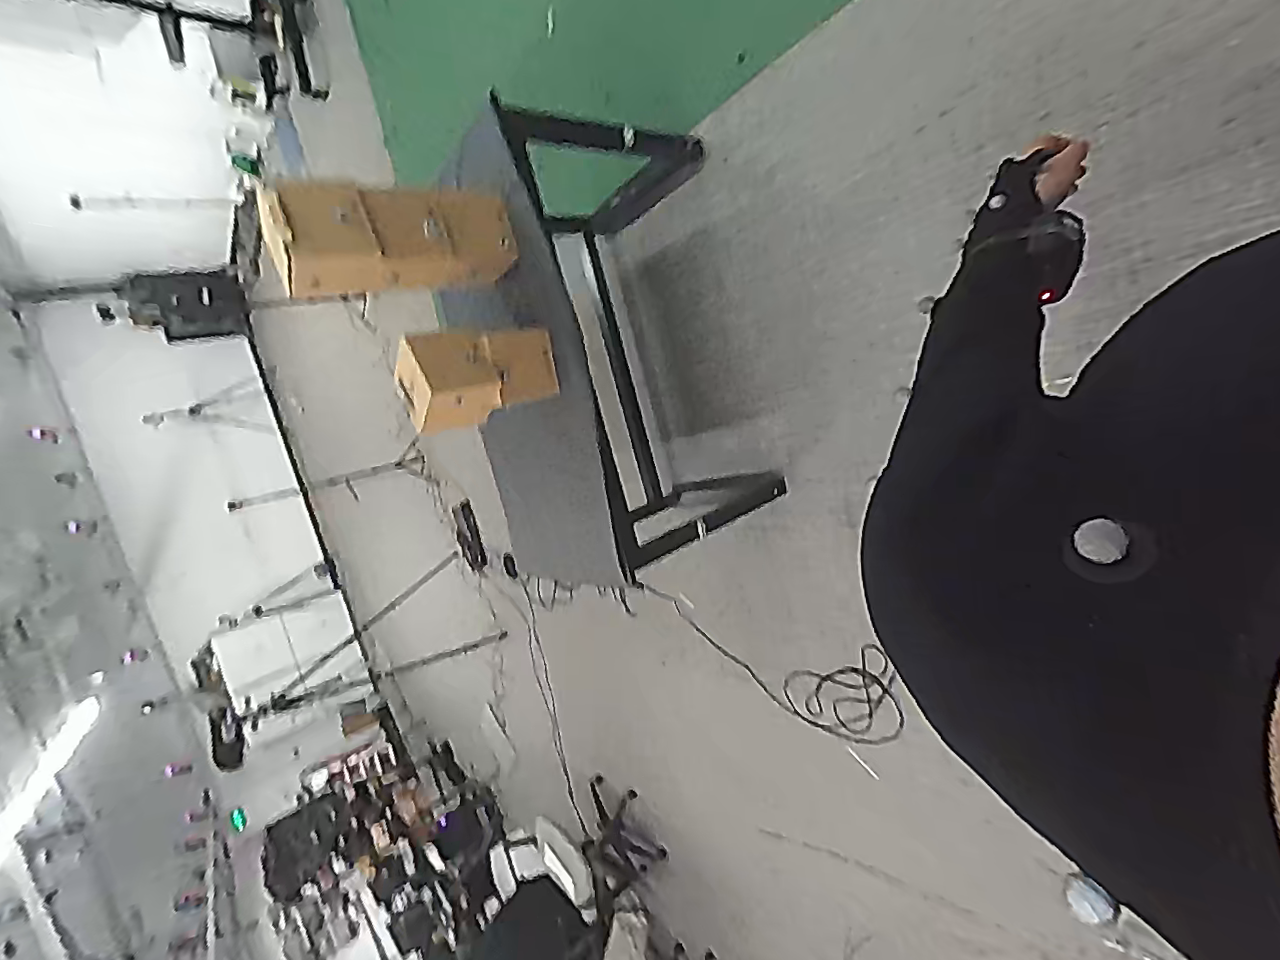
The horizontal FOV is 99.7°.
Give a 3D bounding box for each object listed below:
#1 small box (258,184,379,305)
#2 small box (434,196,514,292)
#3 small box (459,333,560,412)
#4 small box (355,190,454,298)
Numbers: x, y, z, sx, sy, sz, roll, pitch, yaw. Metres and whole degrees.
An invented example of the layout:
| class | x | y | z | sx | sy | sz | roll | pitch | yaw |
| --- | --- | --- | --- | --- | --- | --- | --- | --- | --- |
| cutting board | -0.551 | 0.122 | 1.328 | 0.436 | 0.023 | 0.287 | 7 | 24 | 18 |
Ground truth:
| class | x | y | z | sx | sy | sz | roll | pitch | yaw |
| --- | --- | --- | --- | --- | --- | --- | --- | --- | --- |
| small box | -0.666 | -0.486 | 1.125 | 0.179 | 0.176 | 0.168 | -19 | 94 | 54 |
| small box | -0.429 | -0.580 | 1.331 | 0.179 | 0.176 | 0.168 | -7 | 102 | 53 |
| small box | -0.325 | -0.268 | 1.354 | 0.179 | 0.176 | 0.168 | 6 | 111 | 50 |
| small box | -0.547 | -0.532 | 1.231 | 0.179 | 0.176 | 0.168 | -14 | 98 | 52 |
